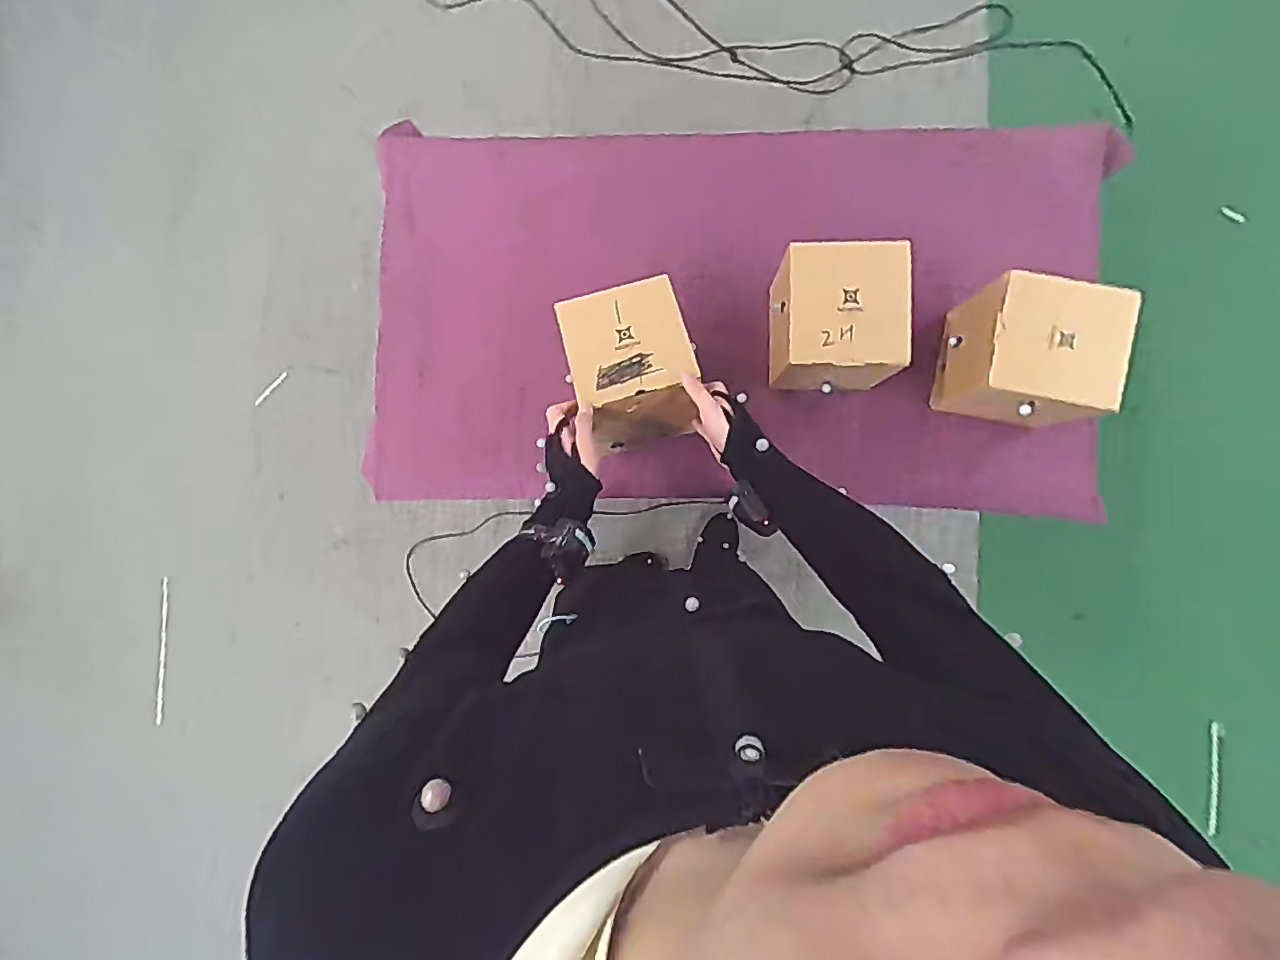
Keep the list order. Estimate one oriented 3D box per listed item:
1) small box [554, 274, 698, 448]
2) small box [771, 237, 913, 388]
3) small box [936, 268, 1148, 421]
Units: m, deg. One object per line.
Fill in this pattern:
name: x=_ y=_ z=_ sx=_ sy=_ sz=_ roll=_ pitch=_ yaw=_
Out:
small box: x=-0.013 y=-0.160 z=0.791 sx=0.168 sy=0.176 sz=0.179 roll=-15 pitch=72 yaw=1
small box: x=0.295 y=-0.244 z=0.821 sx=0.168 sy=0.176 sz=0.179 roll=1 pitch=89 yaw=5
small box: x=0.576 y=-0.188 z=0.798 sx=0.179 sy=0.176 sz=0.168 roll=12 pitch=90 yaw=6
